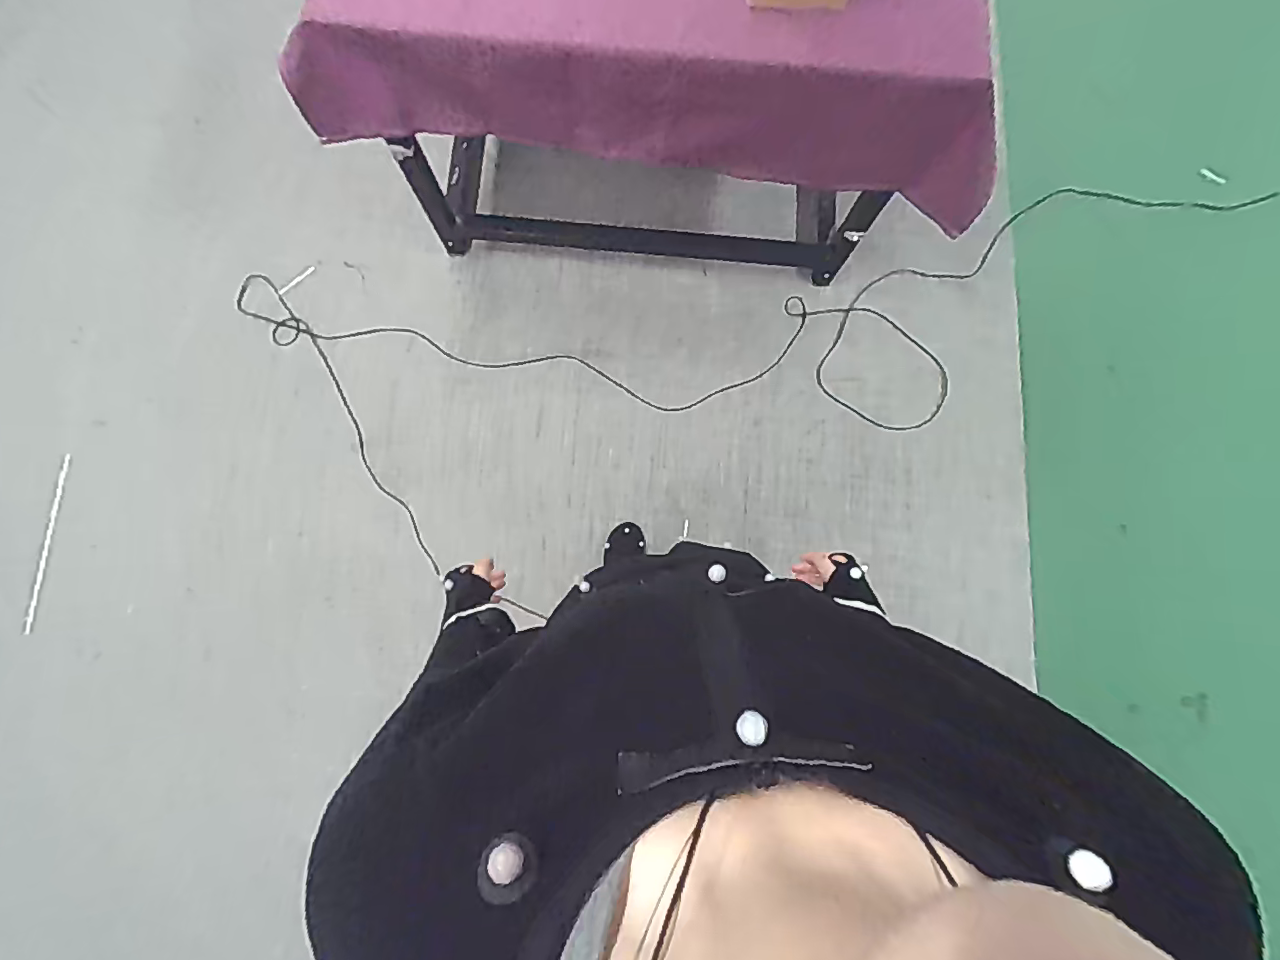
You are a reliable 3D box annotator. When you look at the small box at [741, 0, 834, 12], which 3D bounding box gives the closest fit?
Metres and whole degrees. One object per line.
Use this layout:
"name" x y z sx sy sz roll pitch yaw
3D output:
"small box" 0.273 -0.936 0.908 0.179 0.176 0.168 2 79 -1
